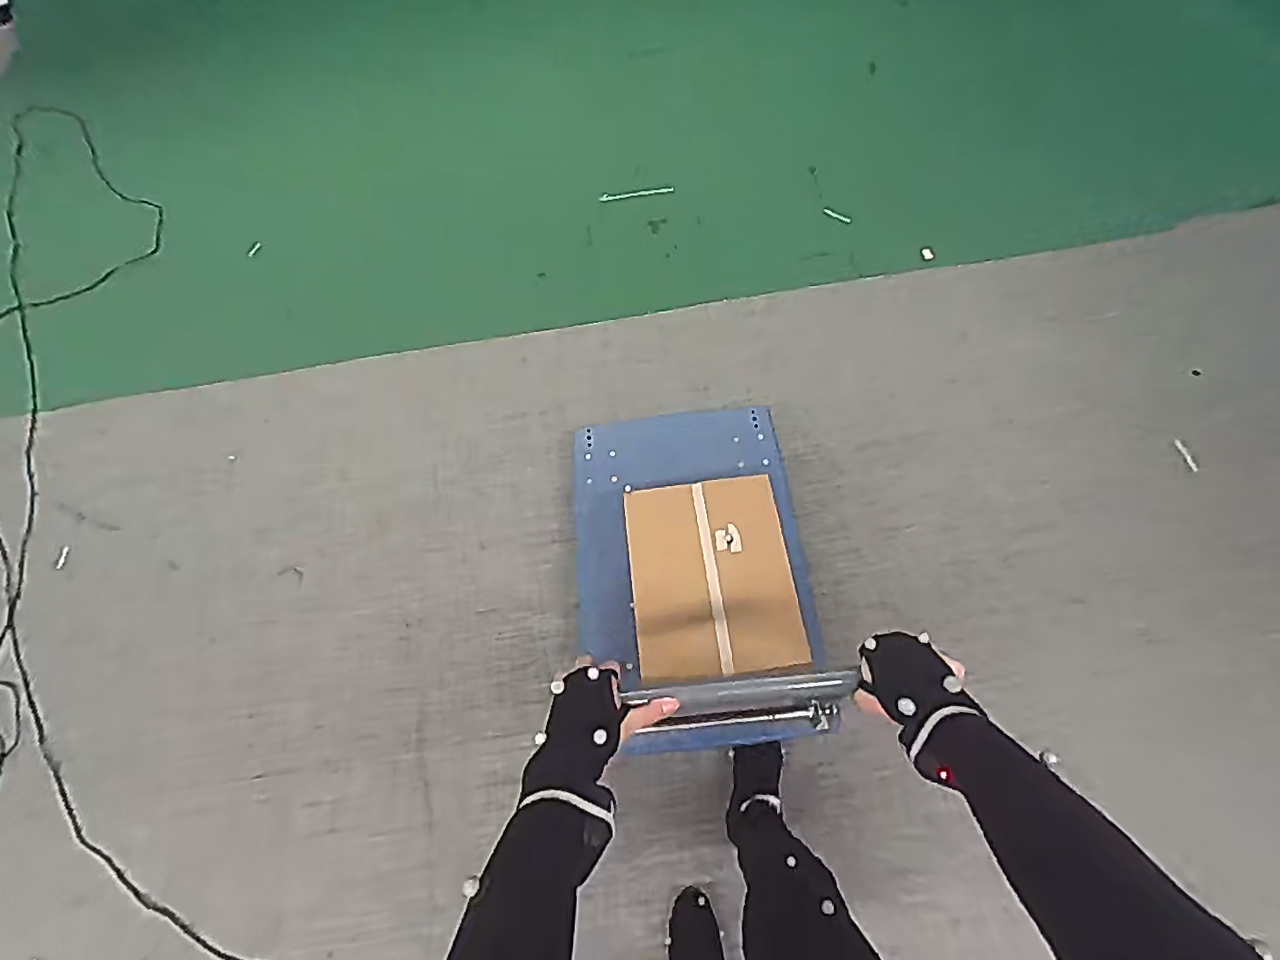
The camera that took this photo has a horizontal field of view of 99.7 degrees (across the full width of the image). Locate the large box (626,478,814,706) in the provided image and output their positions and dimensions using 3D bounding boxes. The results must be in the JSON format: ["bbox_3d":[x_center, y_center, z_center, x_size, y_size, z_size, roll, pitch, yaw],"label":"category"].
[{"bbox_3d":[0.155,0.257,1.197,0.320,0.320,0.408,-7,63,0],"label":"large box"}]
